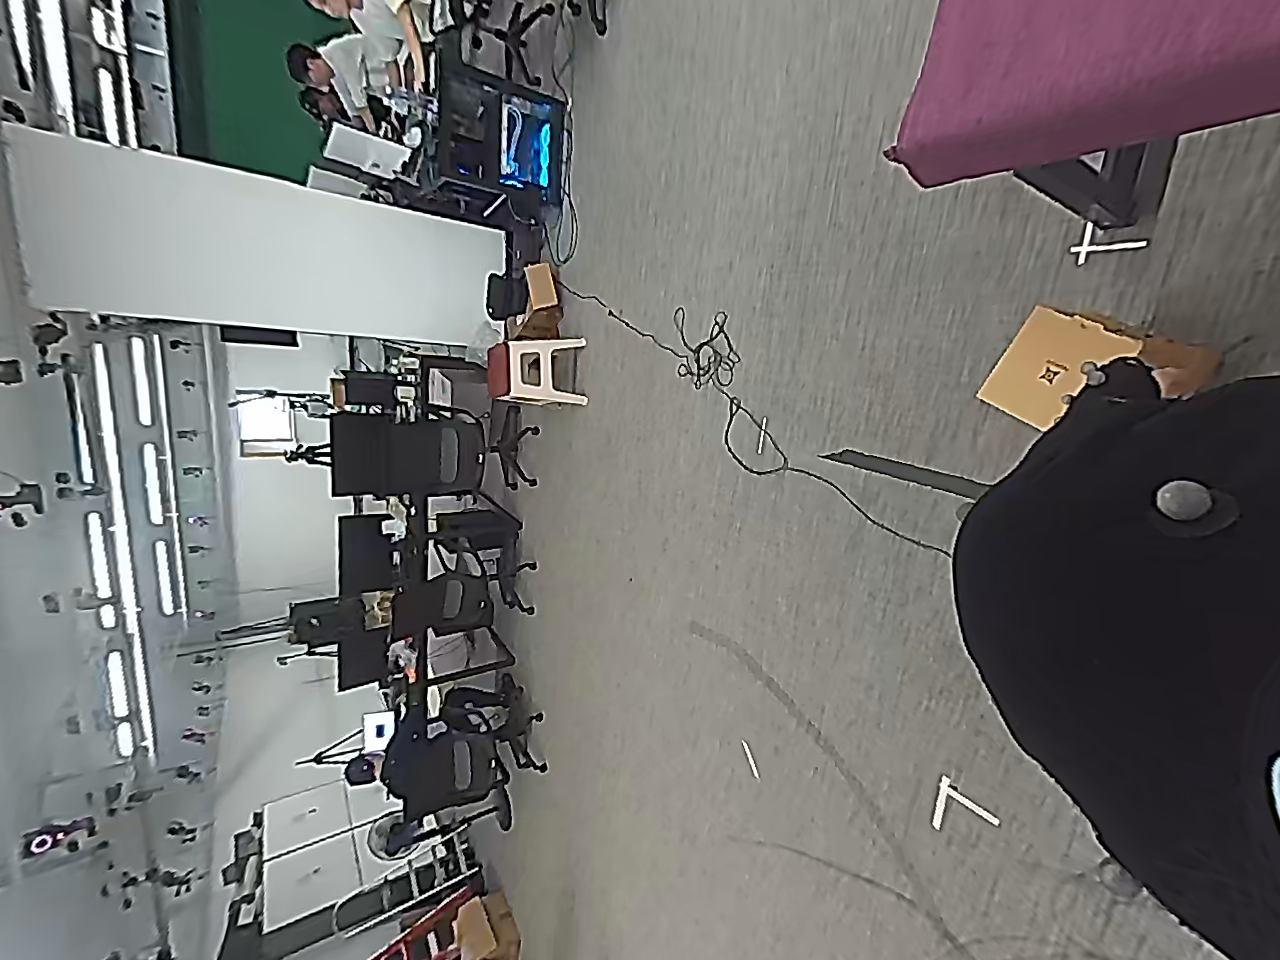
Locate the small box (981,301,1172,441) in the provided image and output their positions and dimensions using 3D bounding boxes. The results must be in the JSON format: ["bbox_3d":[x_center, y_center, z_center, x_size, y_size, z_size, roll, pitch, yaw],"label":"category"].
[{"bbox_3d":[0.742,-0.182,0.921,0.168,0.176,0.179,49,131,41],"label":"small box"}]

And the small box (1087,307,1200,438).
[{"bbox_3d":[0.879,-0.197,1.009,0.168,0.176,0.179,56,137,36],"label":"small box"}]
